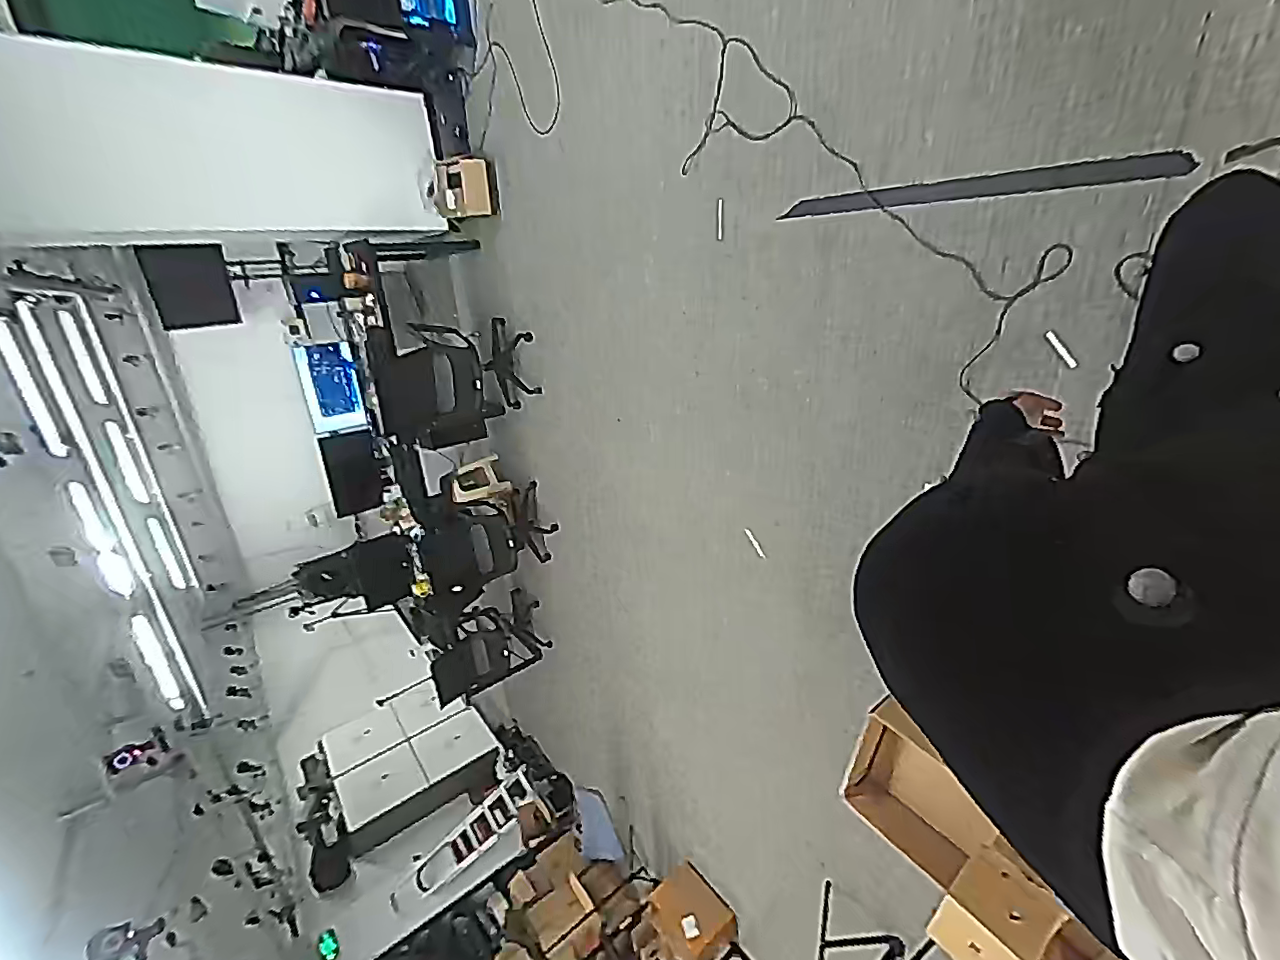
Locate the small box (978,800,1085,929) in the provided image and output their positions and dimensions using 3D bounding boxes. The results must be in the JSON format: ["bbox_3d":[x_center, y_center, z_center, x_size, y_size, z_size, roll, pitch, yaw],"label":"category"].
[{"bbox_3d":[0.891,0.897,1.260,0.168,0.176,0.179,37,135,41],"label":"small box"}]

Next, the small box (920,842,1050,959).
[{"bbox_3d":[0.756,0.948,1.184,0.168,0.176,0.179,33,133,44],"label":"small box"}]
